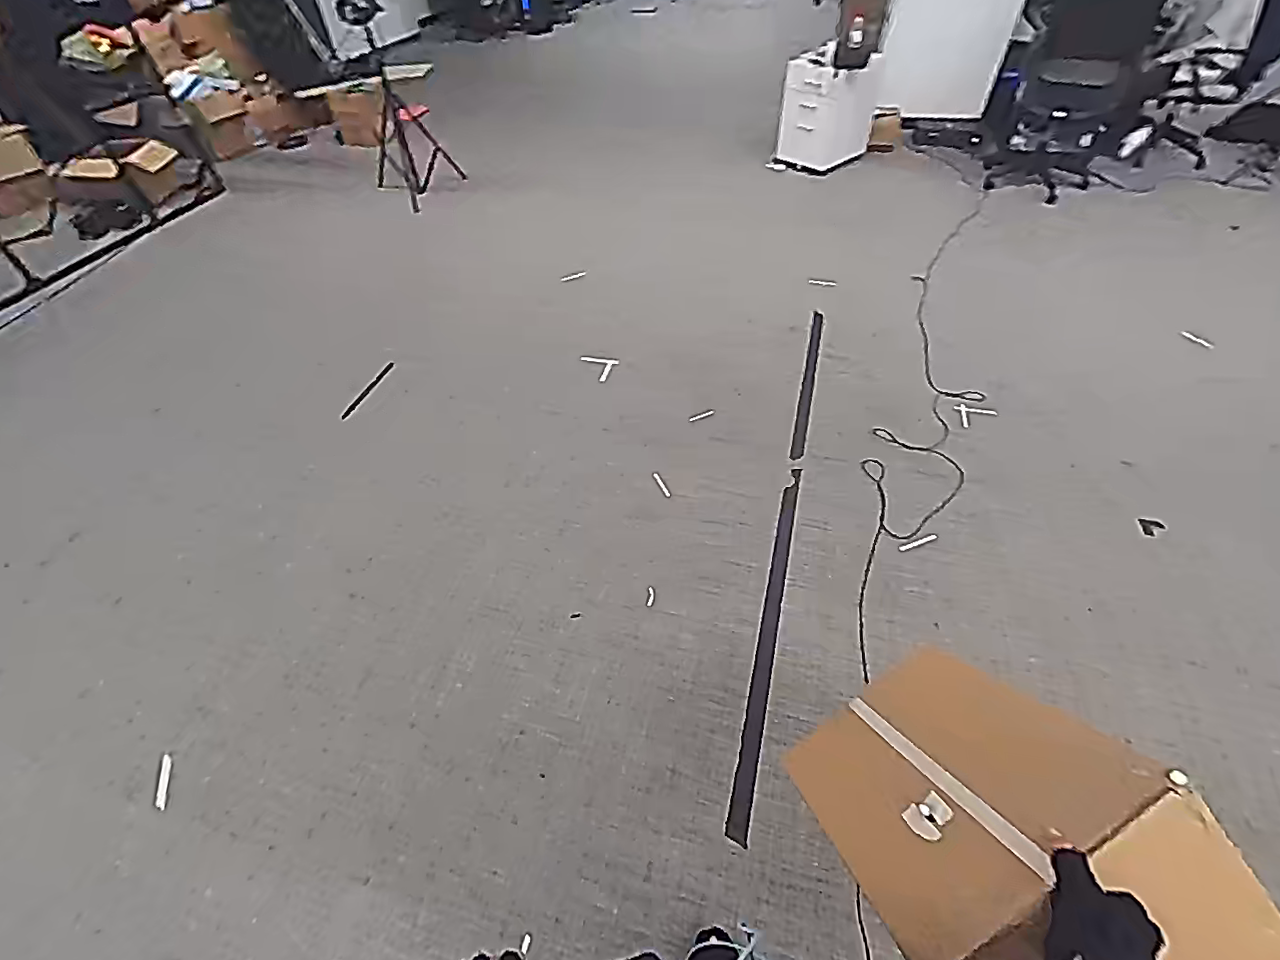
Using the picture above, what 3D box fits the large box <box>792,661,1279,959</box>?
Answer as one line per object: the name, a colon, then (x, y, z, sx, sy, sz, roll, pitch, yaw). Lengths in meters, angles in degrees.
large box: (0.467, 0.505, 0.694, 0.320, 0.408, 0.320, -36, 93, -2)
